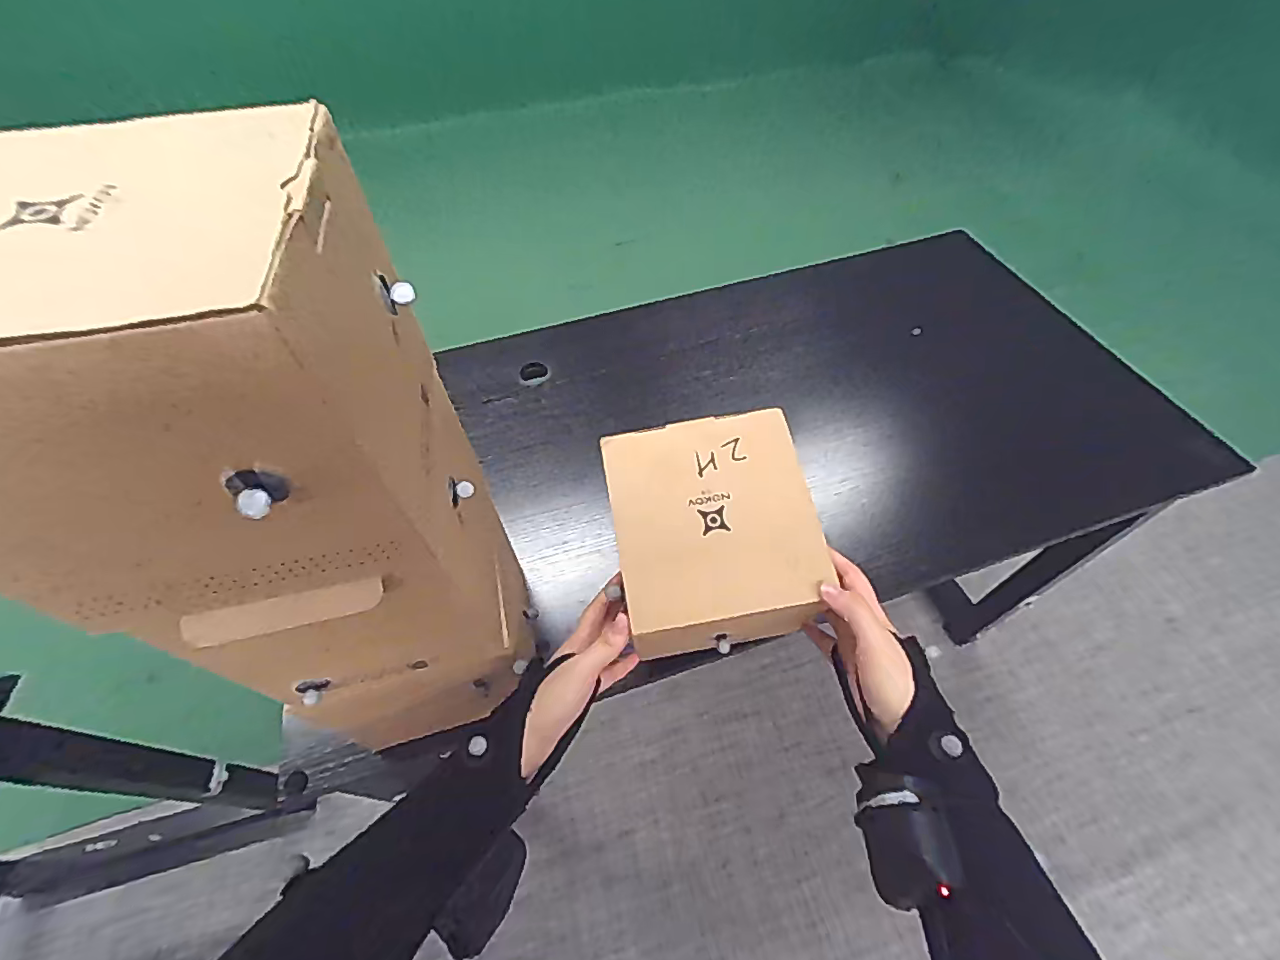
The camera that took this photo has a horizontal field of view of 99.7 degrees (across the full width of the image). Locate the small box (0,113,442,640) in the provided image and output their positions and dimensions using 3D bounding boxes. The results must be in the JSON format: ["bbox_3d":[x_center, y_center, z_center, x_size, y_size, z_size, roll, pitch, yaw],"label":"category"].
[{"bbox_3d":[-0.205,-0.044,0.263,0.179,0.176,0.168,-13,53,-7],"label":"small box"}]

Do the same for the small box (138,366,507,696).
[{"bbox_3d":[-0.203,0.044,0.401,0.168,0.176,0.179,-12,54,-8],"label":"small box"}]
